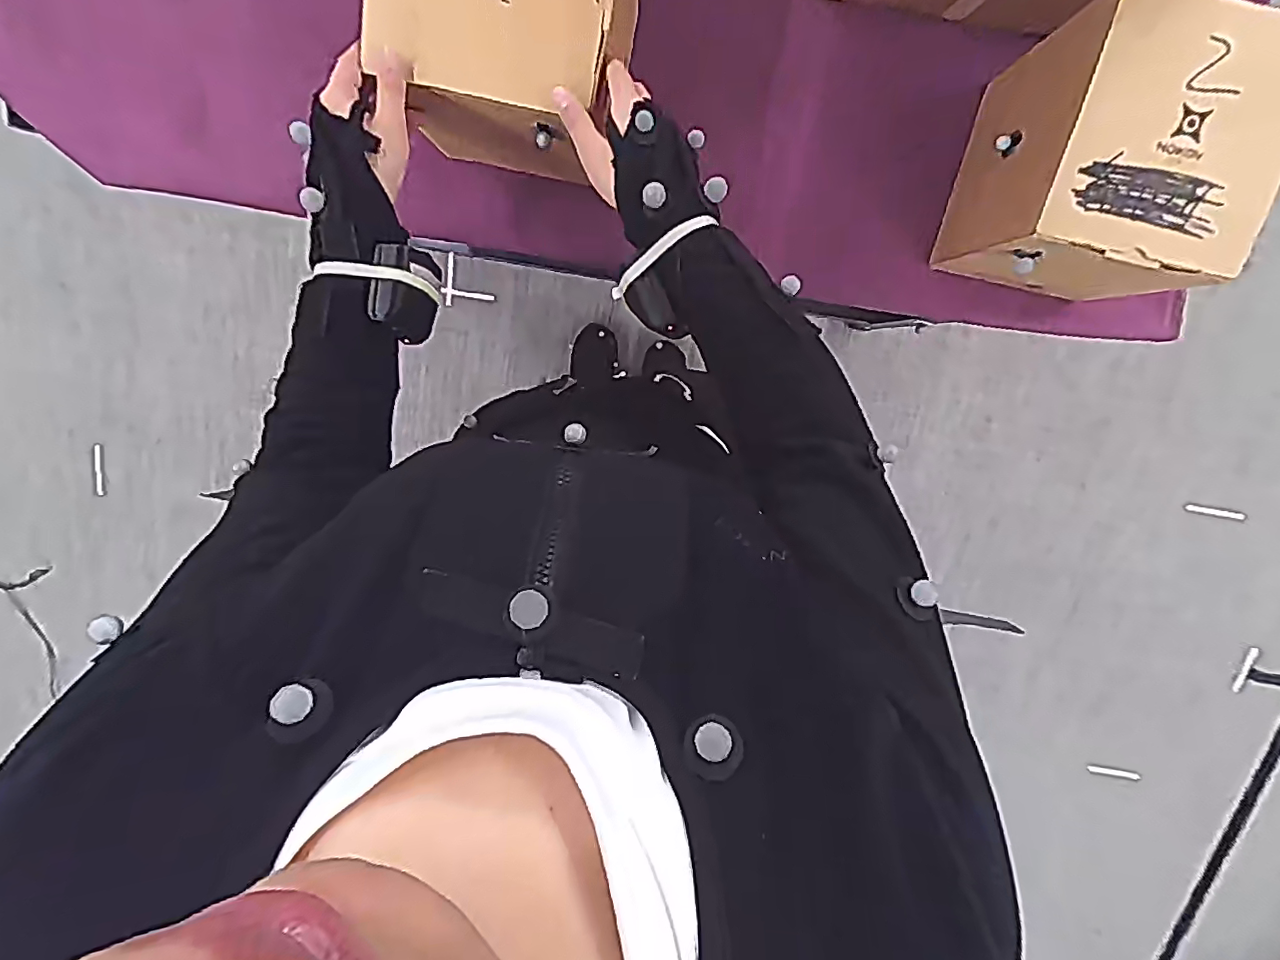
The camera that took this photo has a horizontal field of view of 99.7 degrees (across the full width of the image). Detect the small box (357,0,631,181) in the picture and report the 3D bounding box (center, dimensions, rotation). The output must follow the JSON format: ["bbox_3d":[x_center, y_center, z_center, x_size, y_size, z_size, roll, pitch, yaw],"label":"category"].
[{"bbox_3d":[-0.108,-0.380,0.463,0.179,0.176,0.168,10,102,-2],"label":"small box"}]
